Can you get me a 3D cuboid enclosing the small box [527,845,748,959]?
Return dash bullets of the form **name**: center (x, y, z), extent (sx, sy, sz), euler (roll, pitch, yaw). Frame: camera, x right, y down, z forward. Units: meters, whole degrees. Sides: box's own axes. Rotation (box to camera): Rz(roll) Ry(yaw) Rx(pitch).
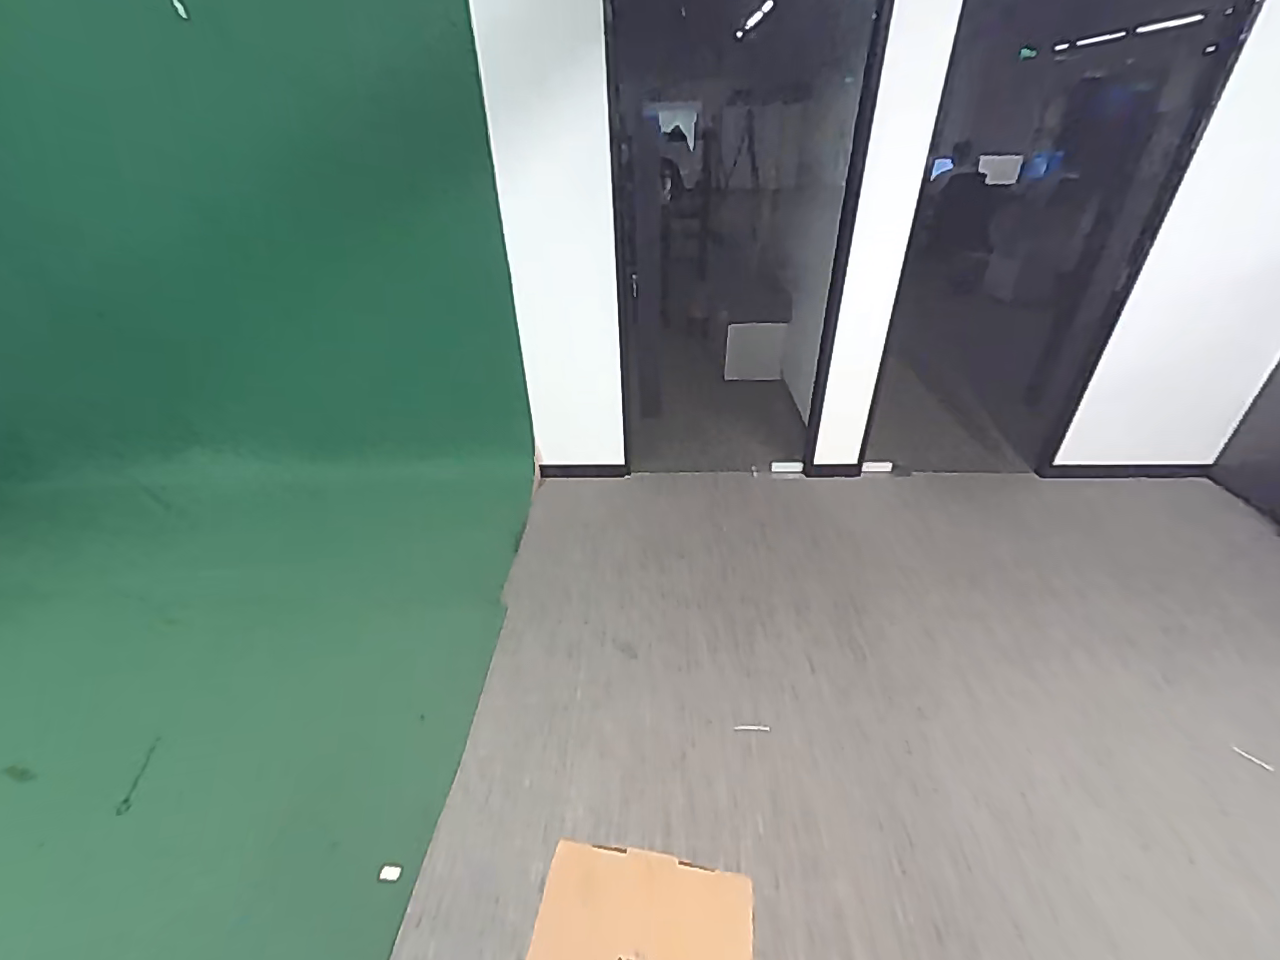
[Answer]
- **small box**: center (-0.009, 0.439, 0.434), extent (0.168, 0.176, 0.179), euler (7, 36, 7)
